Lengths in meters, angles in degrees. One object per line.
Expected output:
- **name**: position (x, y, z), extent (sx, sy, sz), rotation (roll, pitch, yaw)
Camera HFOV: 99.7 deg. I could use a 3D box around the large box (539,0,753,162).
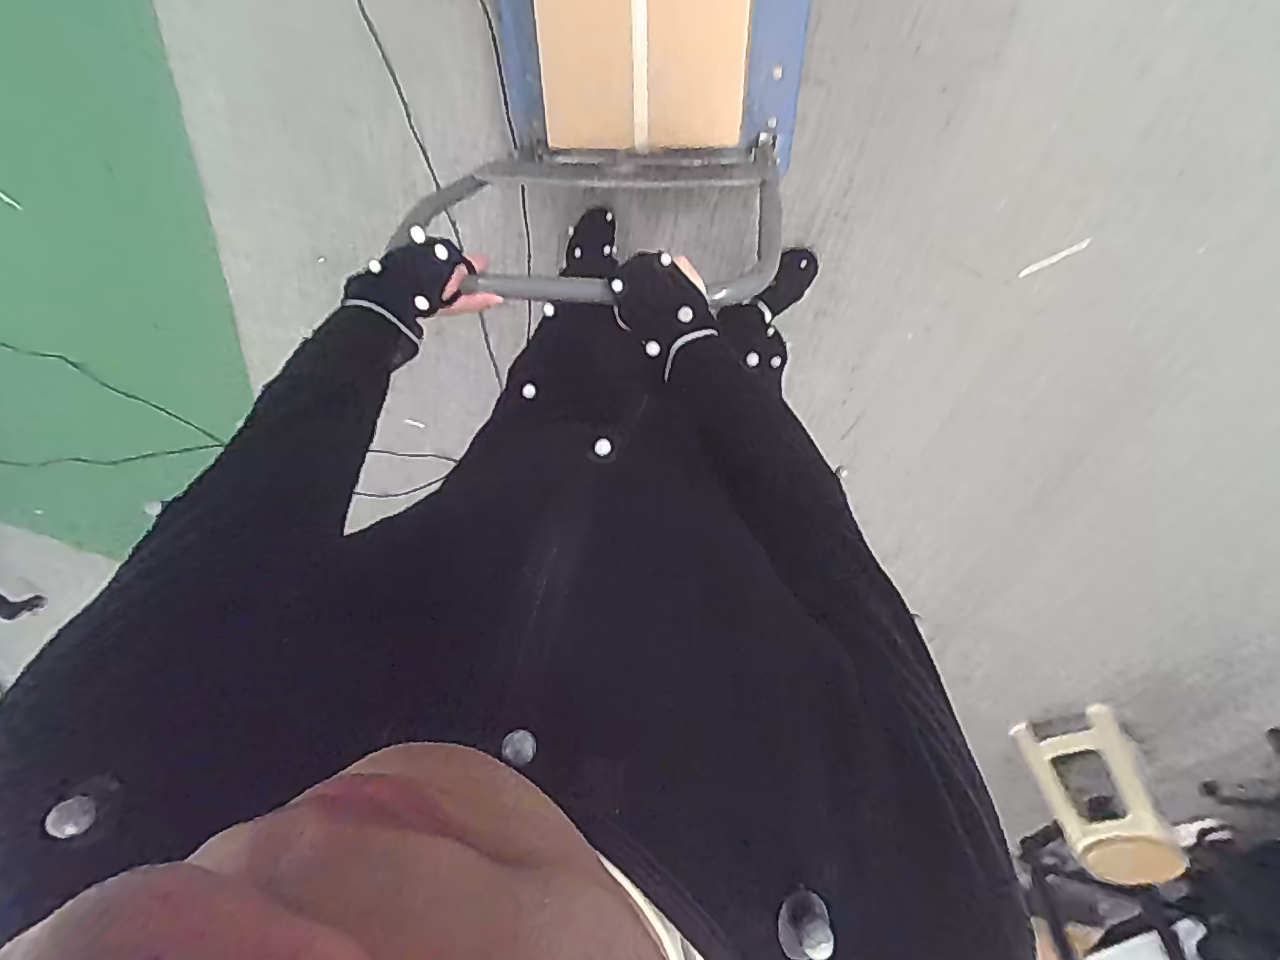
- **large box**: position (0.028, -0.777, 0.903), extent (0.320, 0.320, 0.408), rotation (5, 126, 9)
